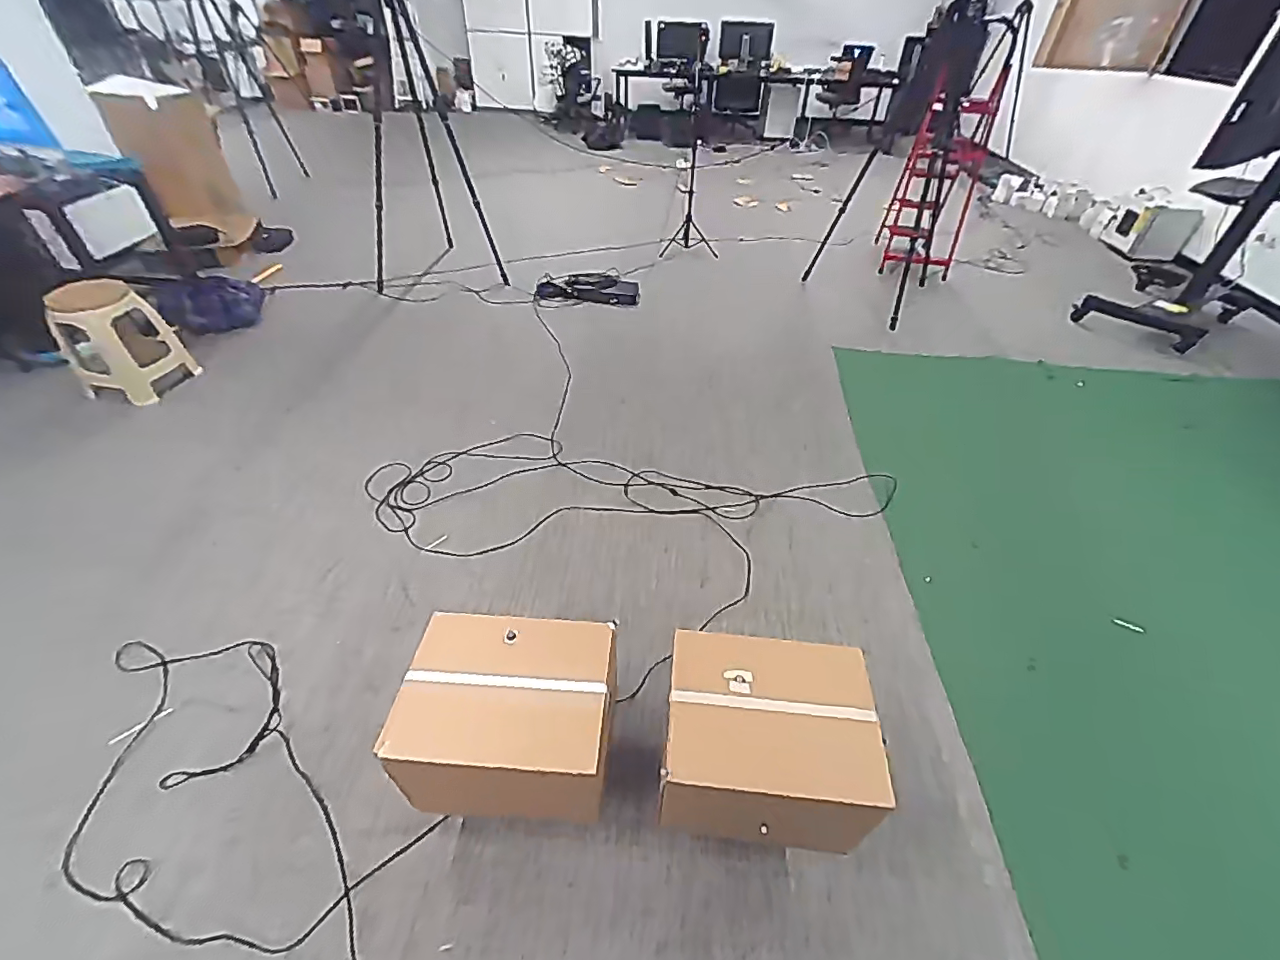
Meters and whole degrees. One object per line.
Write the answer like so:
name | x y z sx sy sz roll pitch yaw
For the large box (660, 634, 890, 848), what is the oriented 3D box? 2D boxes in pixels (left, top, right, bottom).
large box | 0.259 0.567 1.174 0.408 0.320 0.320 5 42 4
